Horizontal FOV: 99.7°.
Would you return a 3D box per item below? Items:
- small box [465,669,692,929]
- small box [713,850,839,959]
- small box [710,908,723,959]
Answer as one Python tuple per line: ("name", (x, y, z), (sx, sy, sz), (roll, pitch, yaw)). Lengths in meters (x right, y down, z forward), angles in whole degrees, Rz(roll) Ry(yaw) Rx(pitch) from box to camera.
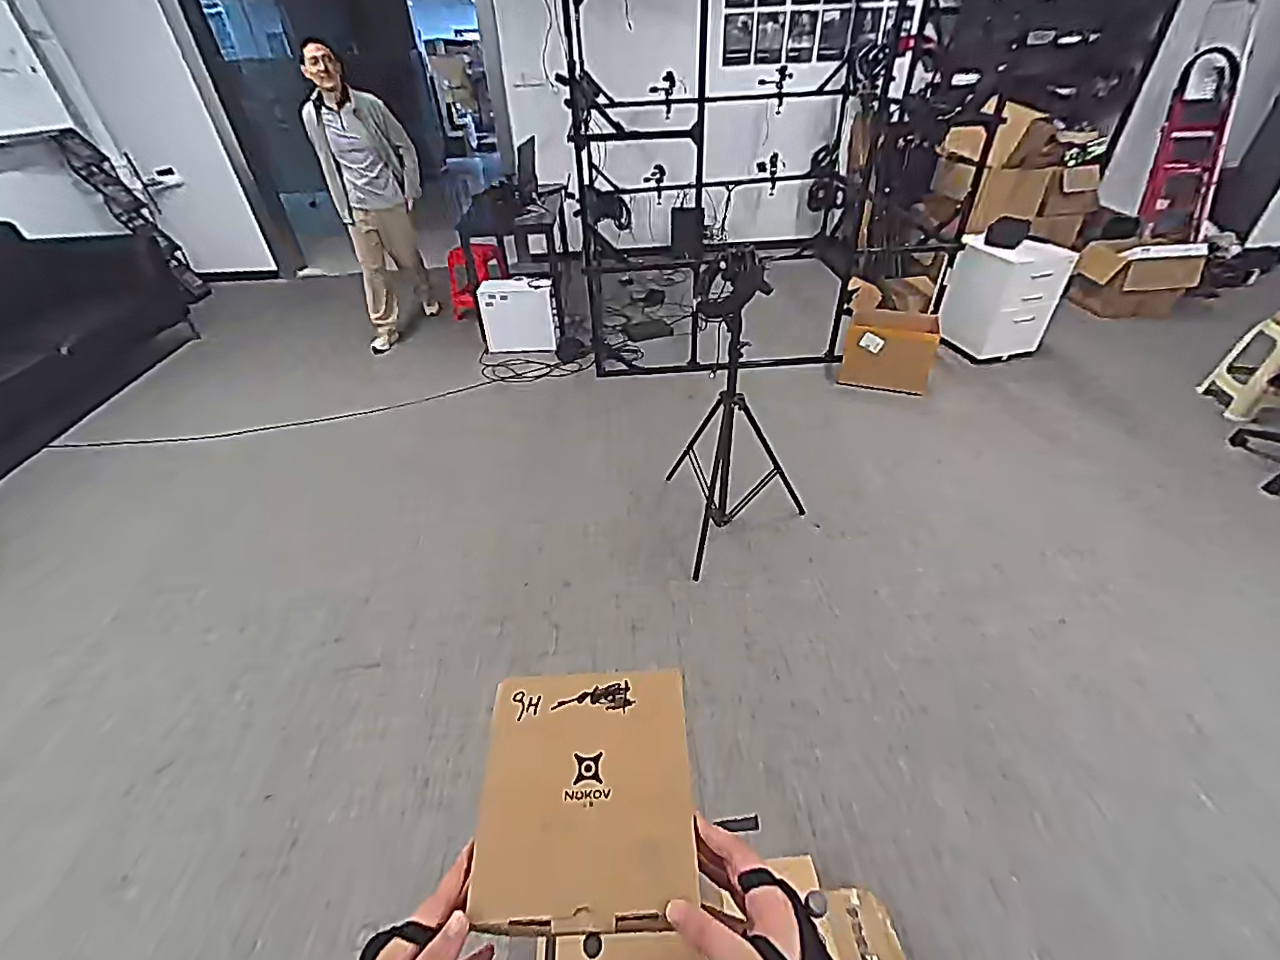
("small box", (-0.042, 0.291, 0.492), (0.168, 0.176, 0.179), (-3, 50, 0))
("small box", (0.222, 0.765, 0.919), (0.168, 0.176, 0.179), (-4, 38, -2))
("small box", (0.223, 0.904, 1.009), (0.168, 0.176, 0.179), (-2, 39, 1))
